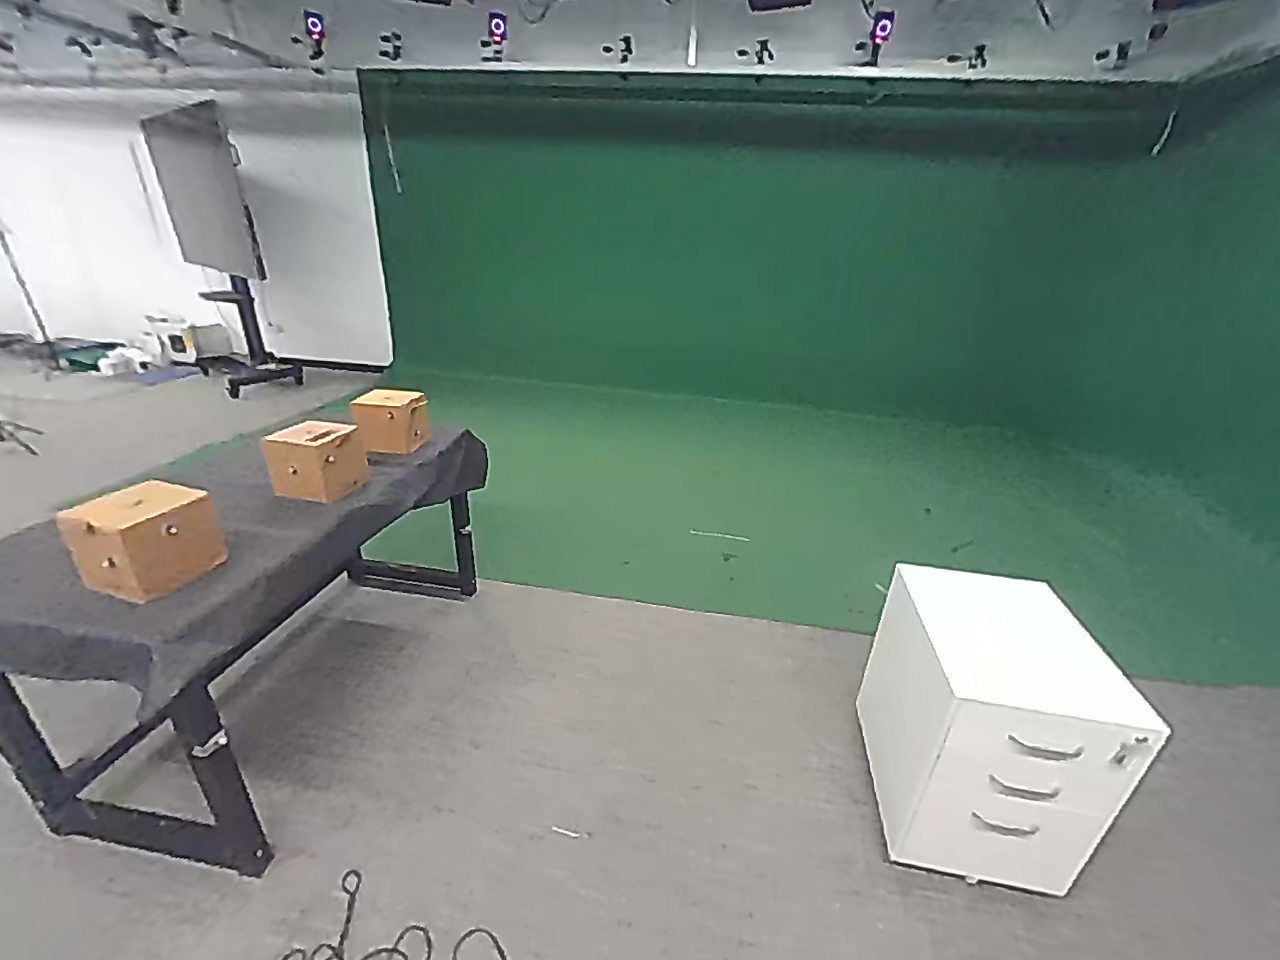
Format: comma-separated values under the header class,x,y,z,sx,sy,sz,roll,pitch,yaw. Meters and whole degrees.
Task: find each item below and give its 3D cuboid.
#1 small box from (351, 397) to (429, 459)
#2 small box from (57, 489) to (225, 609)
class,x,y,z,sx,sy,sz,roll,pitch,yaw
small box,-0.834,-0.176,1.821,0.179,0.176,0.168,4,24,3
small box,-0.997,0.137,1.099,0.168,0.176,0.179,10,24,14
